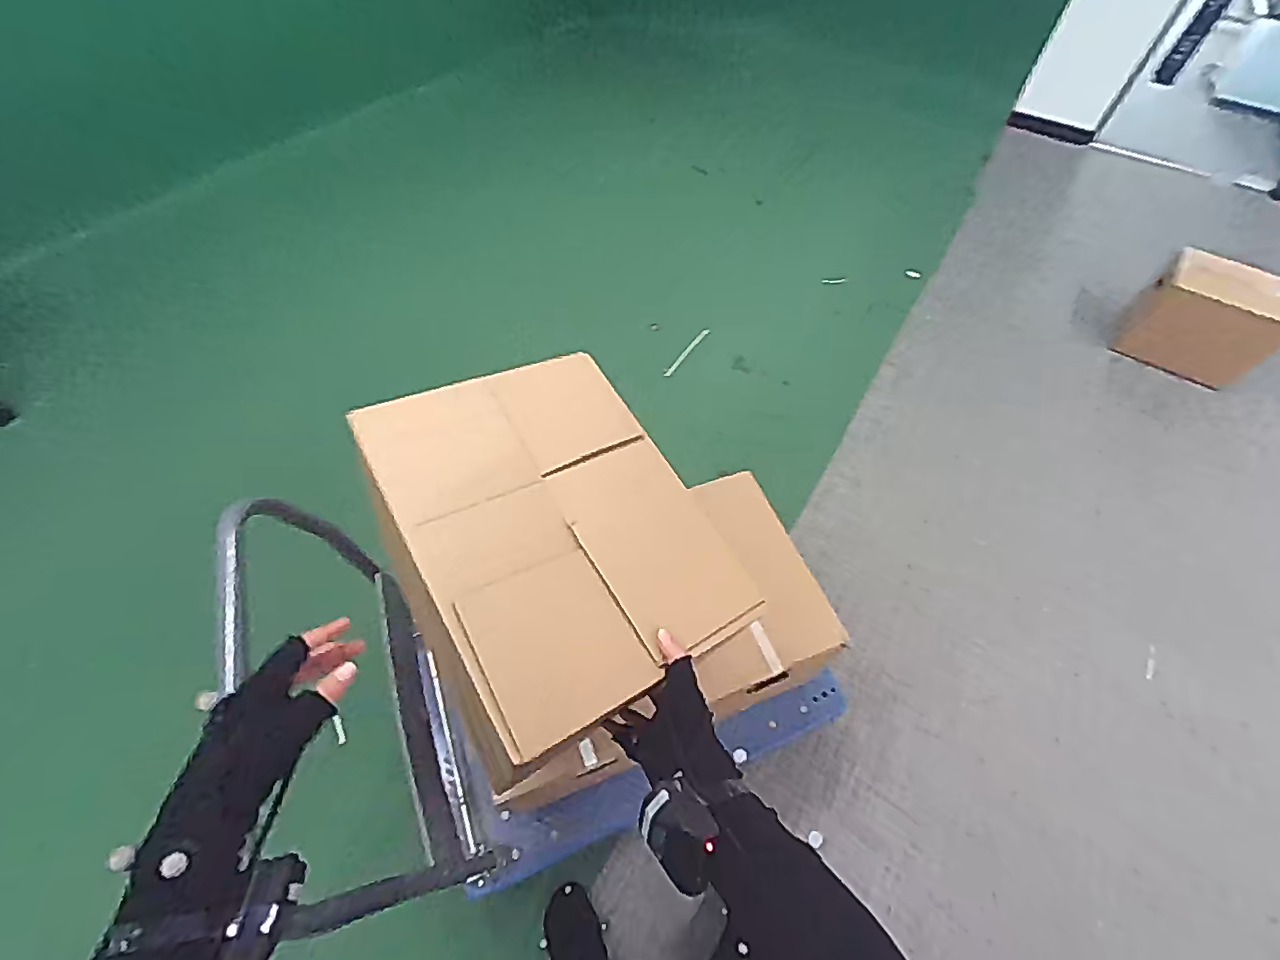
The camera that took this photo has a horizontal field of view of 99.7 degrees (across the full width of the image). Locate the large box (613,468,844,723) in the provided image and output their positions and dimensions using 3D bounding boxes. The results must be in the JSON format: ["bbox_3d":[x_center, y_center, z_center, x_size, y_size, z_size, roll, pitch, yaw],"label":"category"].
[{"bbox_3d":[0.152,0.249,1.171,0.320,0.320,0.408,-17,60,-13],"label":"large box"}]
